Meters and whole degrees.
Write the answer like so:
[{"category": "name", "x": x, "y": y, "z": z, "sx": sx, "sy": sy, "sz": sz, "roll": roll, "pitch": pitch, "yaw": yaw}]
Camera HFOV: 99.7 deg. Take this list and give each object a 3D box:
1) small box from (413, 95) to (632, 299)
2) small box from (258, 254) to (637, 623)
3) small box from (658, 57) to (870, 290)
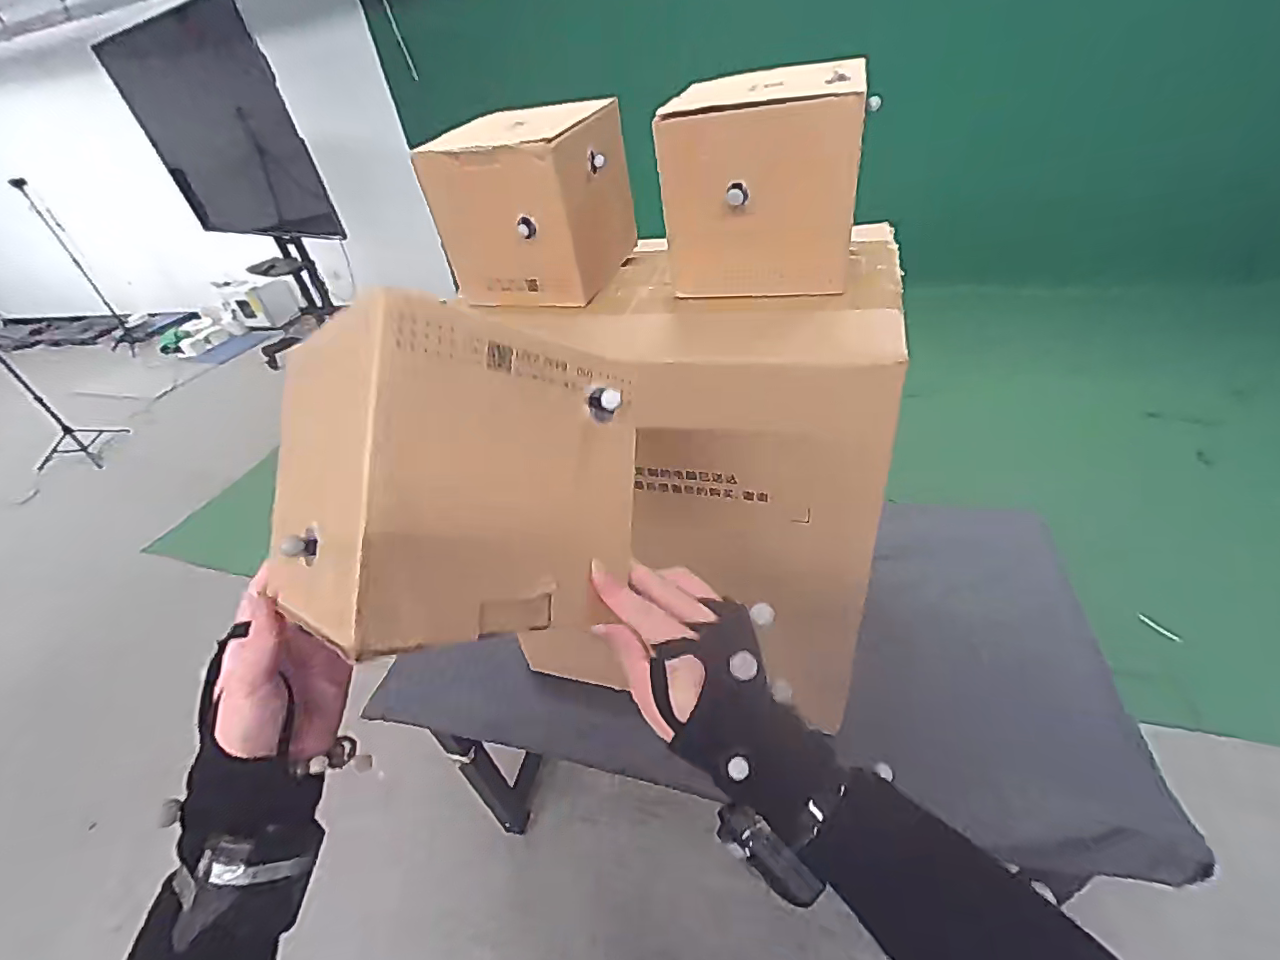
[{"category": "small box", "x": -0.116, "y": -0.322, "z": 0.625, "sx": 0.168, "sy": 0.176, "sz": 0.179, "roll": 9, "pitch": 44, "yaw": 18}, {"category": "small box", "x": -0.116, "y": -0.016, "z": 0.340, "sx": 0.179, "sy": 0.176, "sz": 0.168, "roll": 0, "pitch": -7, "yaw": 44}, {"category": "small box", "x": 0.131, "y": -0.305, "z": 0.551, "sx": 0.179, "sy": 0.176, "sz": 0.168, "roll": 4, "pitch": 43, "yaw": 17}]
